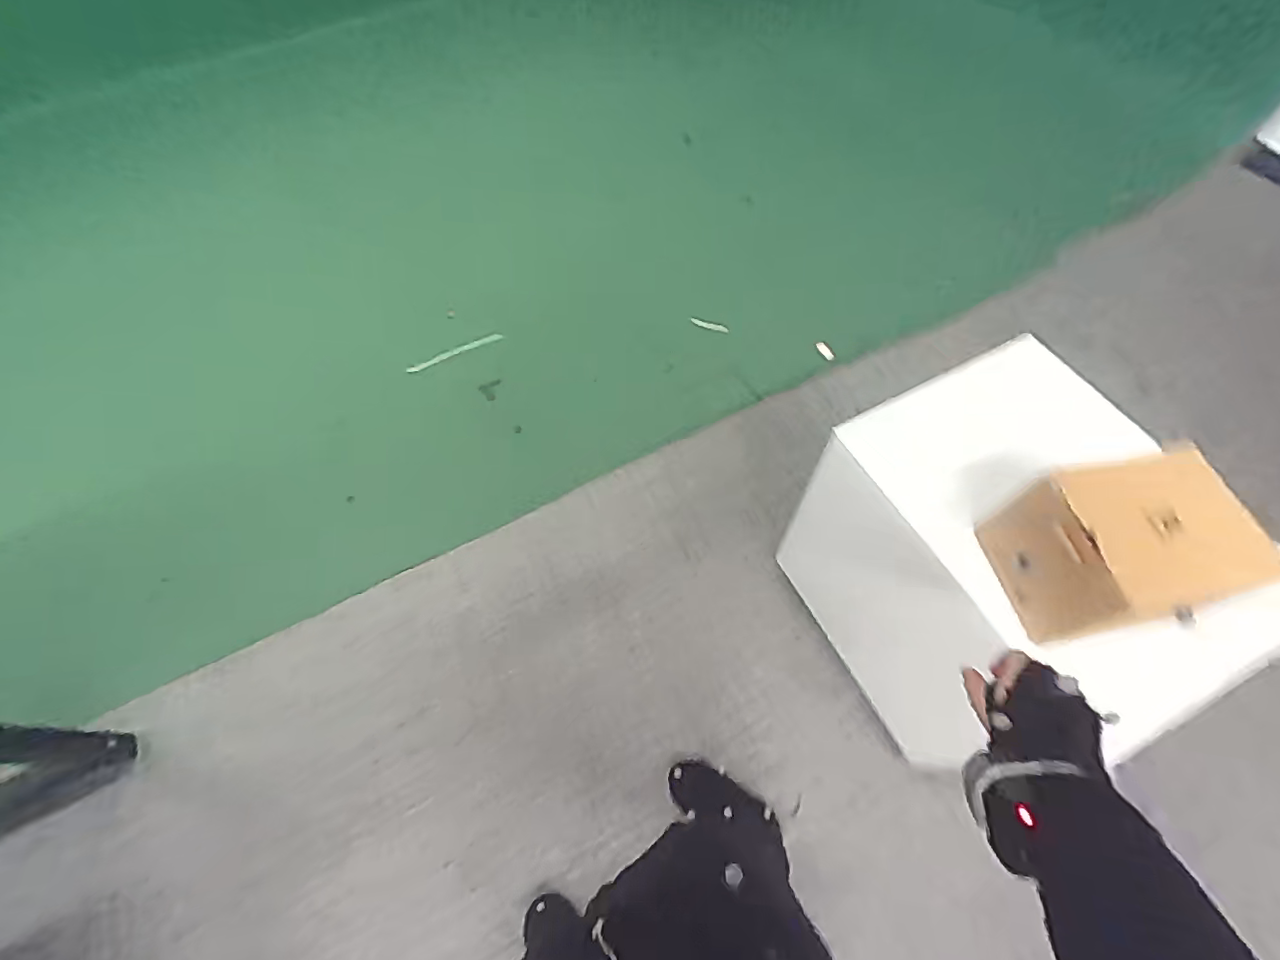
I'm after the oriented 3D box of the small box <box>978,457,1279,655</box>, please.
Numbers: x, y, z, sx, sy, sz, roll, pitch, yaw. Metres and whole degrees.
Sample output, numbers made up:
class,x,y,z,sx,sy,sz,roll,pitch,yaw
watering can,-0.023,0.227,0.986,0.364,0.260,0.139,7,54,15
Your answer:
class,x,y,z,sx,sy,sz,roll,pitch,yaw
small box,0.549,0.096,0.633,0.179,0.176,0.168,-10,61,-2
